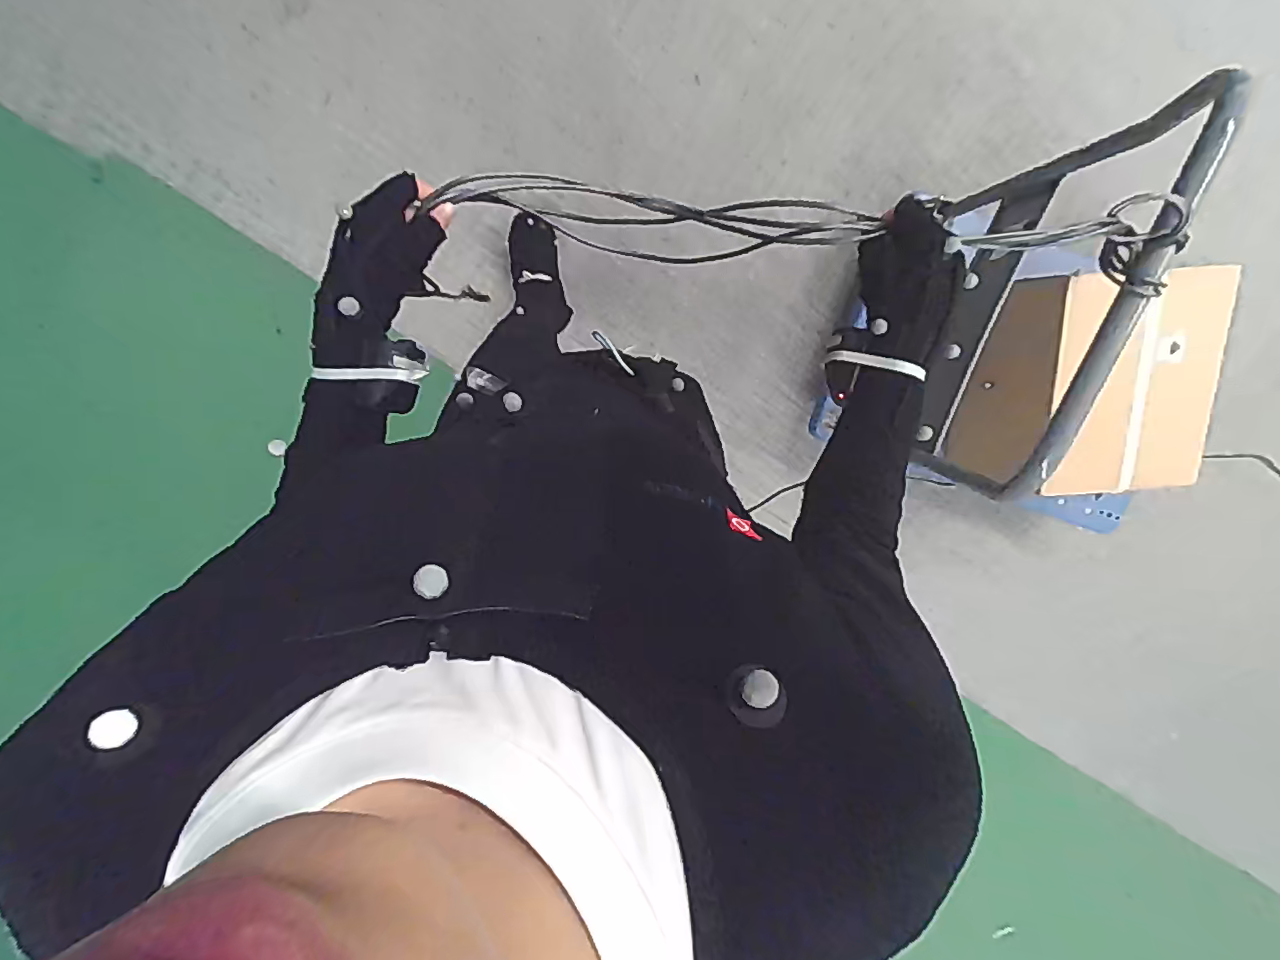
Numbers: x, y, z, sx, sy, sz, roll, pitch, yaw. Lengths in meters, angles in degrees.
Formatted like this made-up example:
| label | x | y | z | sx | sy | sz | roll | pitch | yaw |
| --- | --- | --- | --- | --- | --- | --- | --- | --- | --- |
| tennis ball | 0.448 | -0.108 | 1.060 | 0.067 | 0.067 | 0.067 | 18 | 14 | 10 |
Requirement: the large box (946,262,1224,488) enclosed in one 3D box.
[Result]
| label | x | y | z | sx | sy | sz | roll | pitch | yaw |
| --- | --- | --- | --- | --- | --- | --- | --- | --- | --- |
| large box | 0.896 | -0.221 | 1.150 | 0.320 | 0.320 | 0.408 | -4 | 105 | -3 |
